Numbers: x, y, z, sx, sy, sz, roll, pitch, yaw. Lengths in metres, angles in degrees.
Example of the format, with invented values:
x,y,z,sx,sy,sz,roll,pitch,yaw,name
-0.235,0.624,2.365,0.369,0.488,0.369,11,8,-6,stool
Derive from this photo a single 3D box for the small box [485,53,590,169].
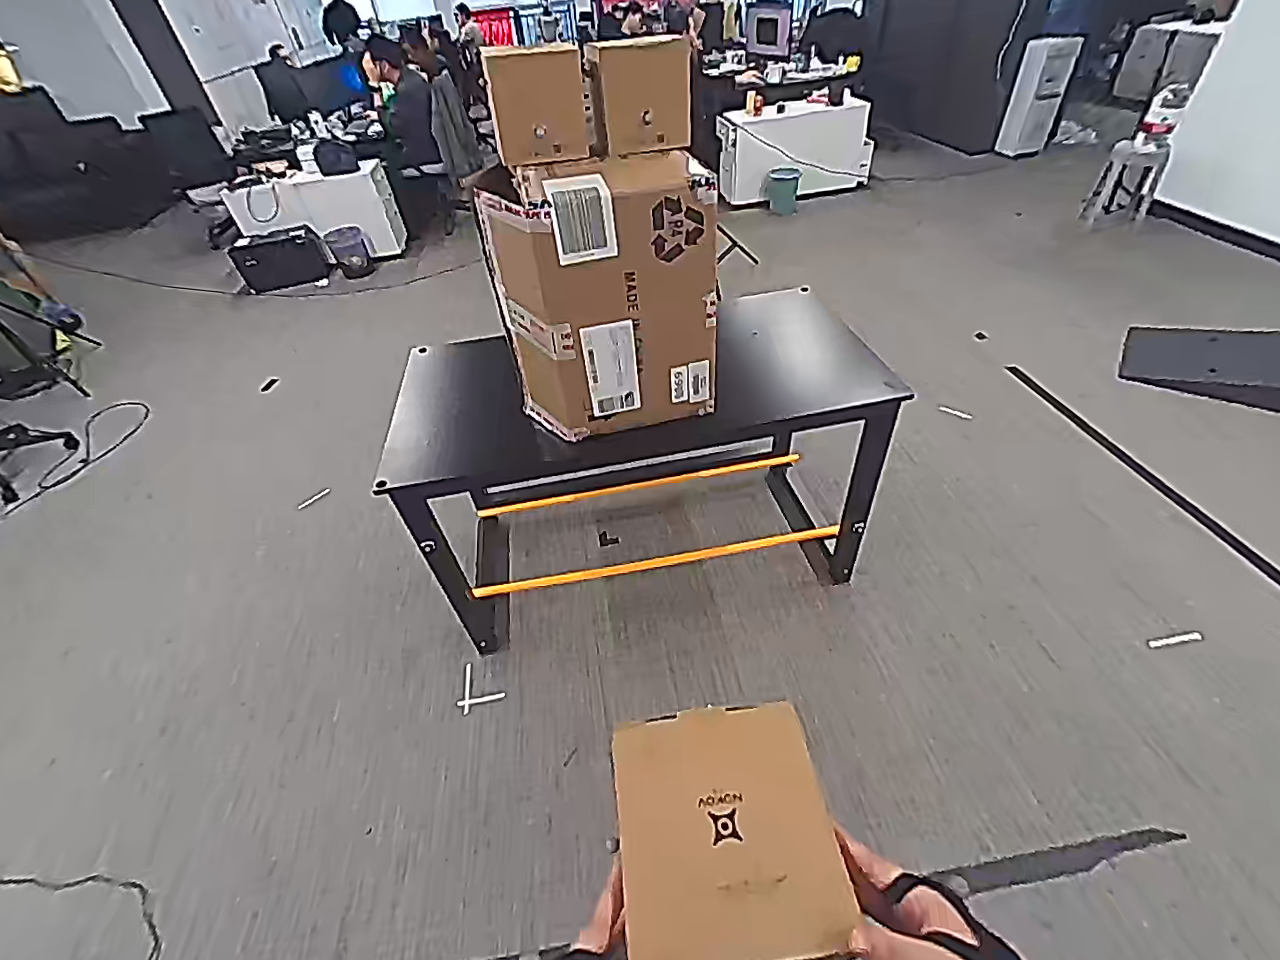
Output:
x,y,z,sx,sy,sz,roll,pitch,yaw,name
-0.196,-0.708,1.037,0.168,0.176,0.179,-12,41,-9,small box

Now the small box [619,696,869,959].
x,y,z,sx,sy,sz,roll,pitch,yaw,name
0.071,0.321,0.480,0.168,0.176,0.179,-6,43,-3,small box

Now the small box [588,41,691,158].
x,y,z,sx,sy,sz,roll,pitch,yaw,name
-0.002,-0.745,1.061,0.168,0.176,0.179,-12,41,-6,small box
